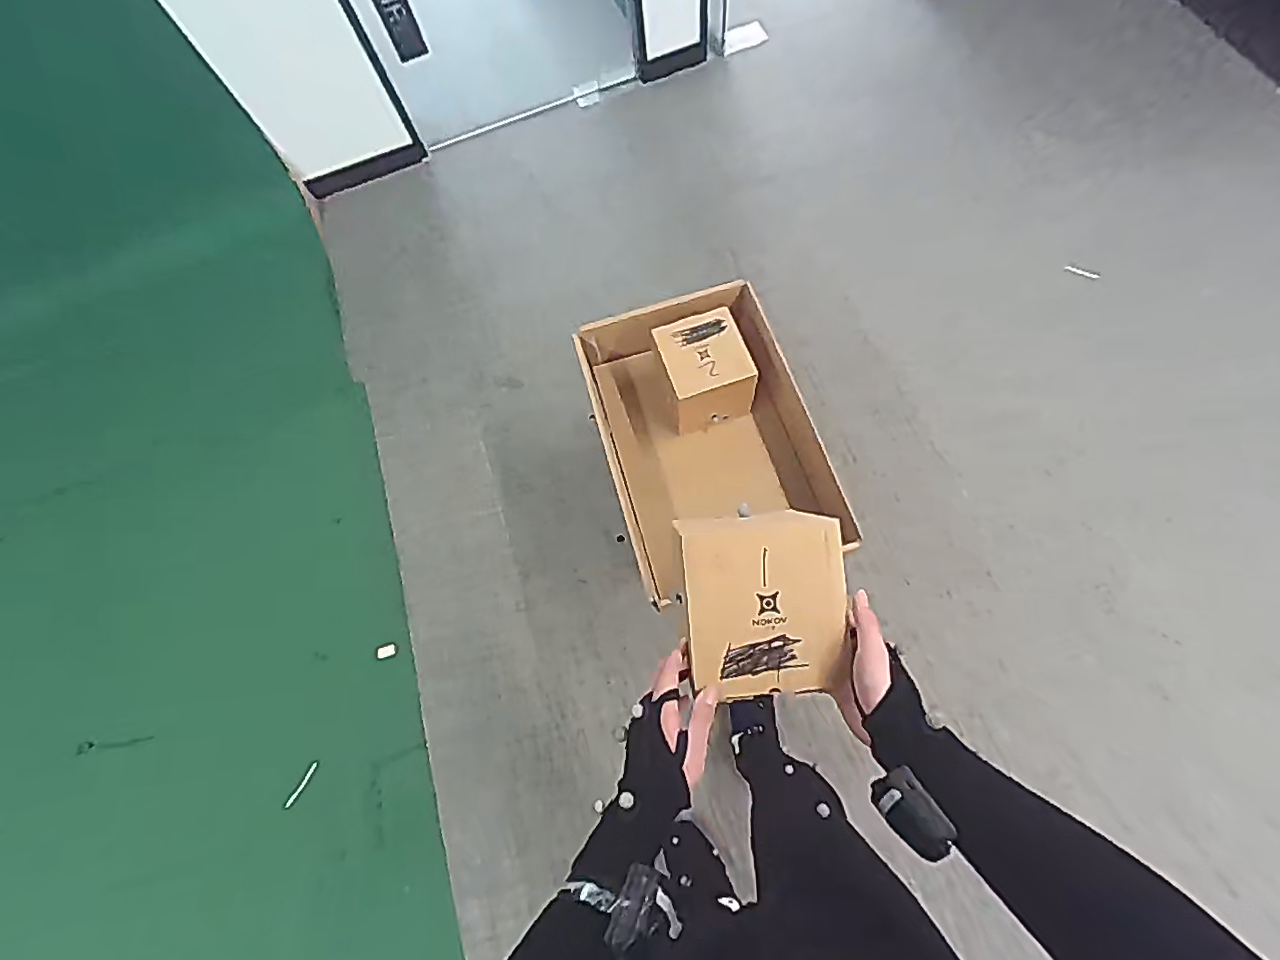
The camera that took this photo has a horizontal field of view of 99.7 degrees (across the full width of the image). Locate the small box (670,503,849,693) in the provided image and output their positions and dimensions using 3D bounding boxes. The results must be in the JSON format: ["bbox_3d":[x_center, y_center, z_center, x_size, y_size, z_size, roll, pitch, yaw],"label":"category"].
[{"bbox_3d":[0.126,0.123,0.628,0.168,0.176,0.179,-5,91,-1],"label":"small box"}]
